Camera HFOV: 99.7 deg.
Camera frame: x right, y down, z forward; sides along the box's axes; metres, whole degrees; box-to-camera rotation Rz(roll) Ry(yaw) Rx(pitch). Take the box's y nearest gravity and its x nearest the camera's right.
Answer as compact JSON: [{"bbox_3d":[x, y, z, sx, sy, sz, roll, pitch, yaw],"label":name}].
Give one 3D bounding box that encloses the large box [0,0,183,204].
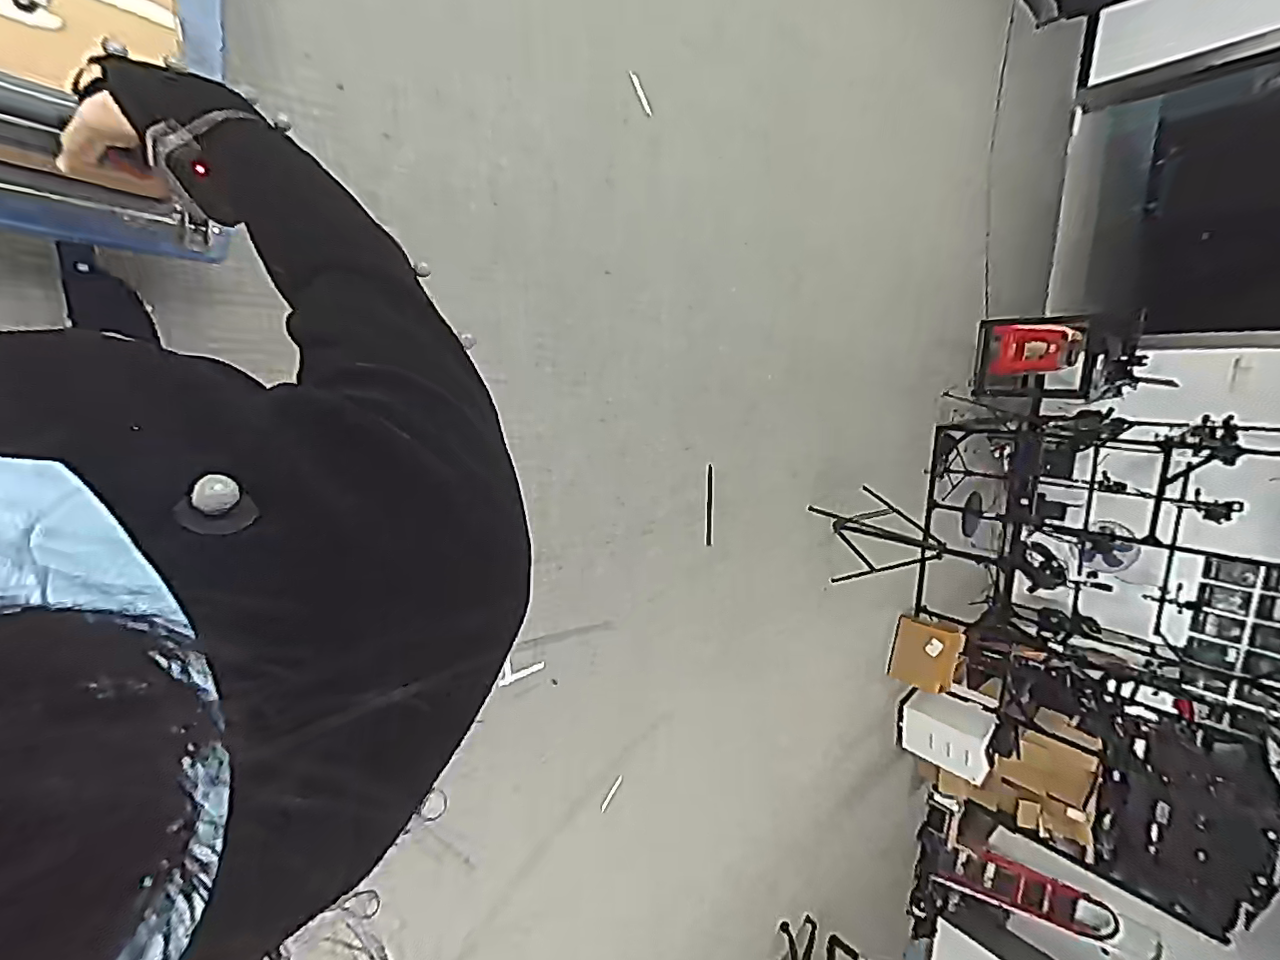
[{"bbox_3d":[-0.858,-0.599,0.683,0.408,0.320,0.320,-3,101,-44],"label":"large box"}]
